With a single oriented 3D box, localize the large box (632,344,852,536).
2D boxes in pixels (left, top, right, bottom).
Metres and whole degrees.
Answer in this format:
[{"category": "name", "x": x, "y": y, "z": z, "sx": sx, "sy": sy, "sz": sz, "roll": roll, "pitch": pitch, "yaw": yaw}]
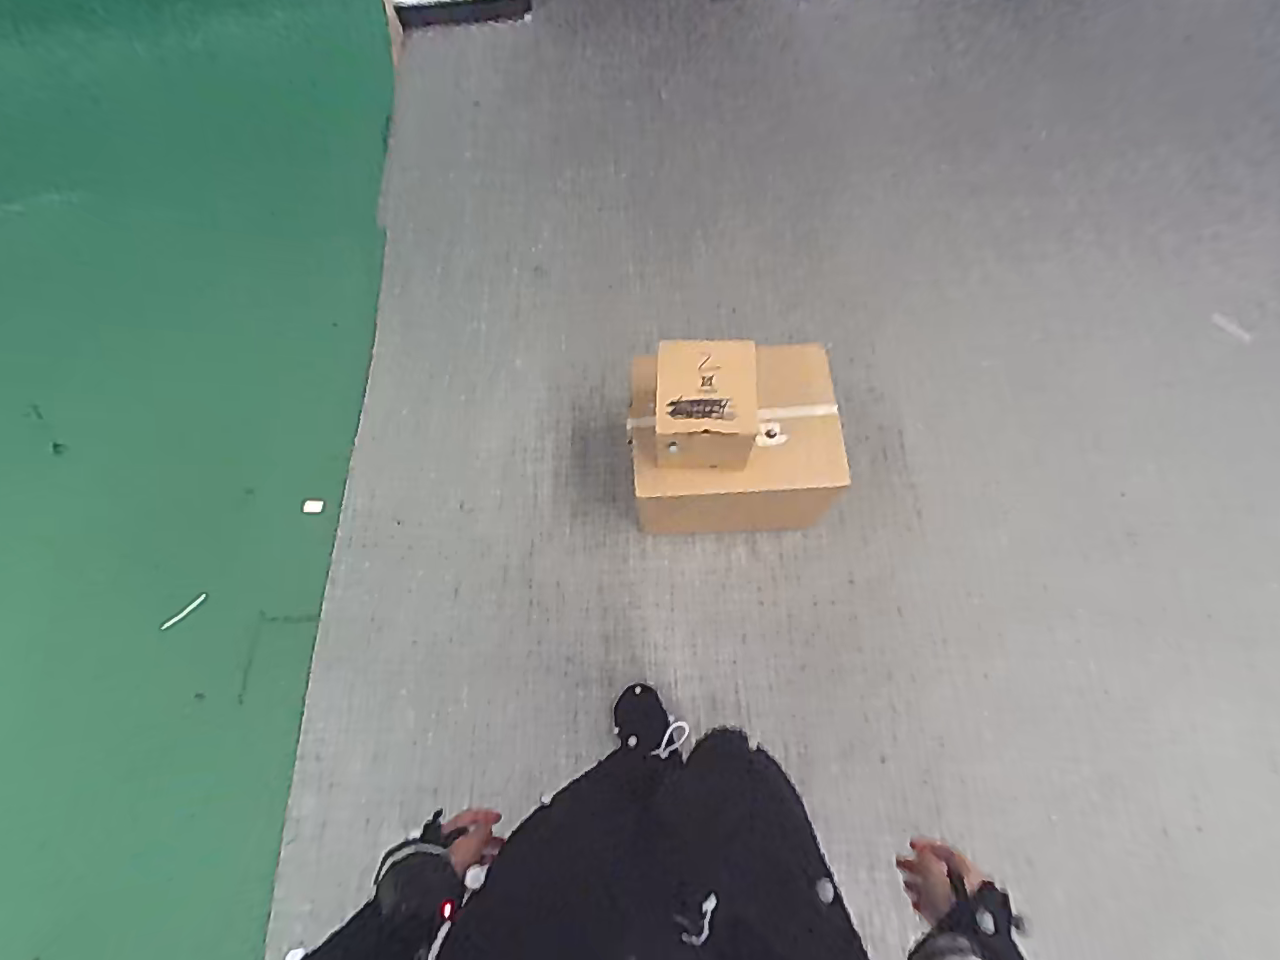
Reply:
[{"category": "large box", "x": 0.195, "y": -0.071, "z": 1.196, "sx": 0.408, "sy": 0.320, "sz": 0.320, "roll": -3, "pitch": 71, "yaw": 1}]
